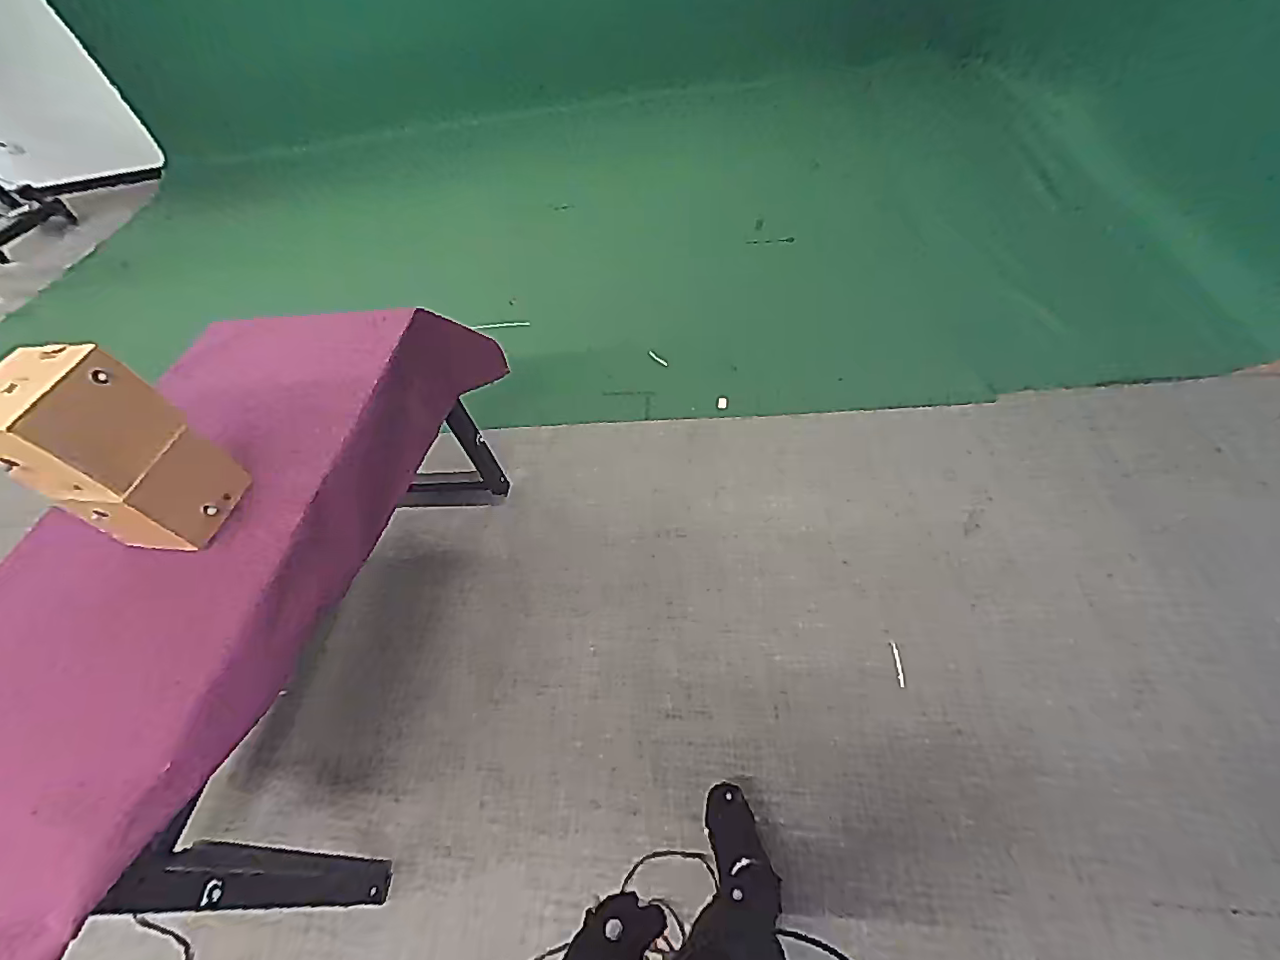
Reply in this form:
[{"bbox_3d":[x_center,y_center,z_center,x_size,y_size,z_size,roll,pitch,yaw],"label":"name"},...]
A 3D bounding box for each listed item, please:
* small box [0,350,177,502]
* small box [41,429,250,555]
[{"bbox_3d":[-0.891,-0.078,0.841,0.168,0.176,0.179,1,54,12],"label":"small box"},{"bbox_3d":[-0.863,0.022,0.964,0.179,0.176,0.168,3,55,13],"label":"small box"}]
